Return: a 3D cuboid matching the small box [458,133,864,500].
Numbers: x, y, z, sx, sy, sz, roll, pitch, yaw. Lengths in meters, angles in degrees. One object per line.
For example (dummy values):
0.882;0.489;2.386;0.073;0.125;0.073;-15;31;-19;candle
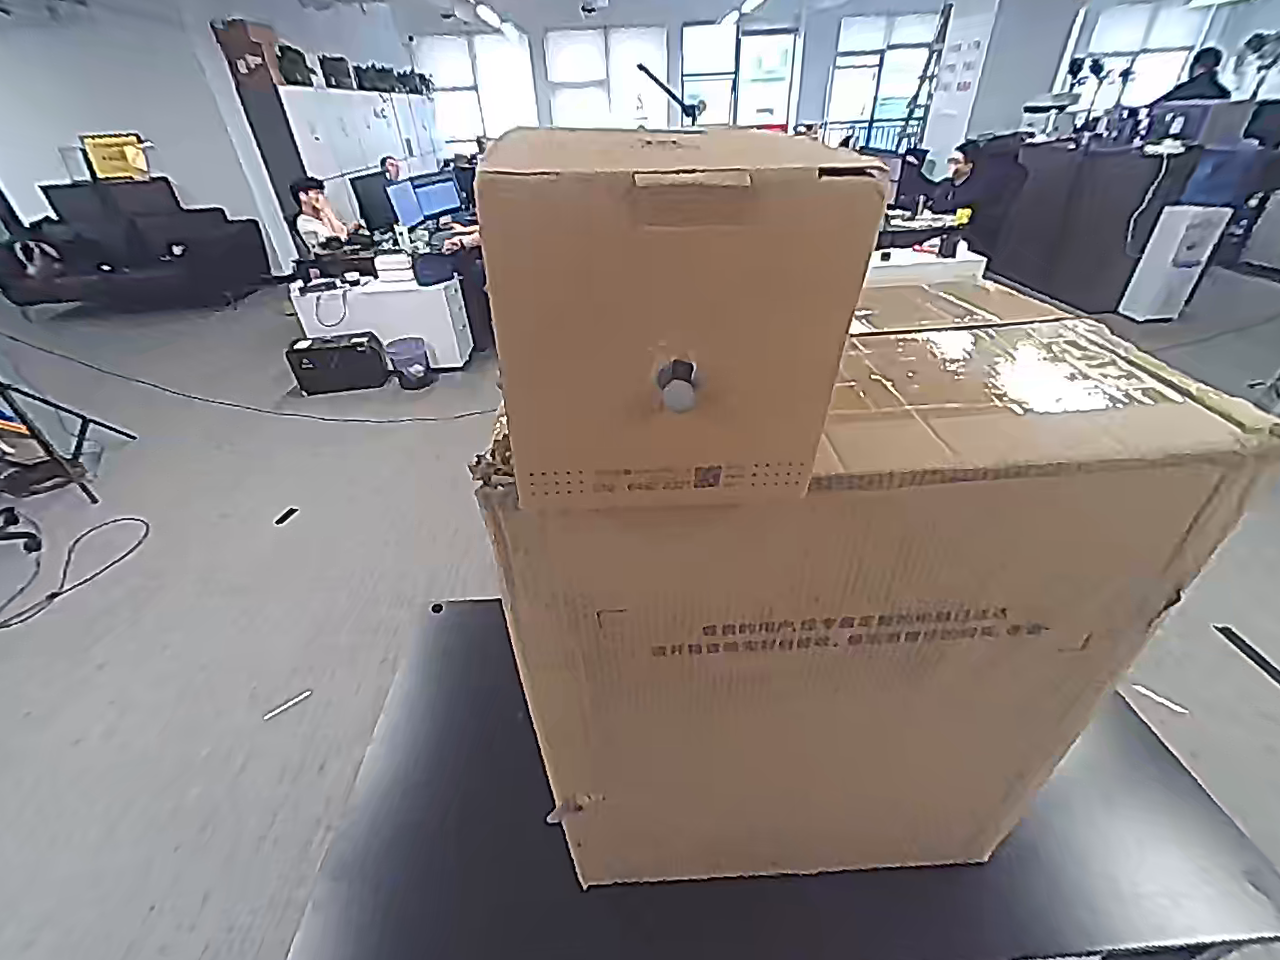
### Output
0.004;-0.099;0.324;0.168;0.176;0.179;-3;37;-5;small box
